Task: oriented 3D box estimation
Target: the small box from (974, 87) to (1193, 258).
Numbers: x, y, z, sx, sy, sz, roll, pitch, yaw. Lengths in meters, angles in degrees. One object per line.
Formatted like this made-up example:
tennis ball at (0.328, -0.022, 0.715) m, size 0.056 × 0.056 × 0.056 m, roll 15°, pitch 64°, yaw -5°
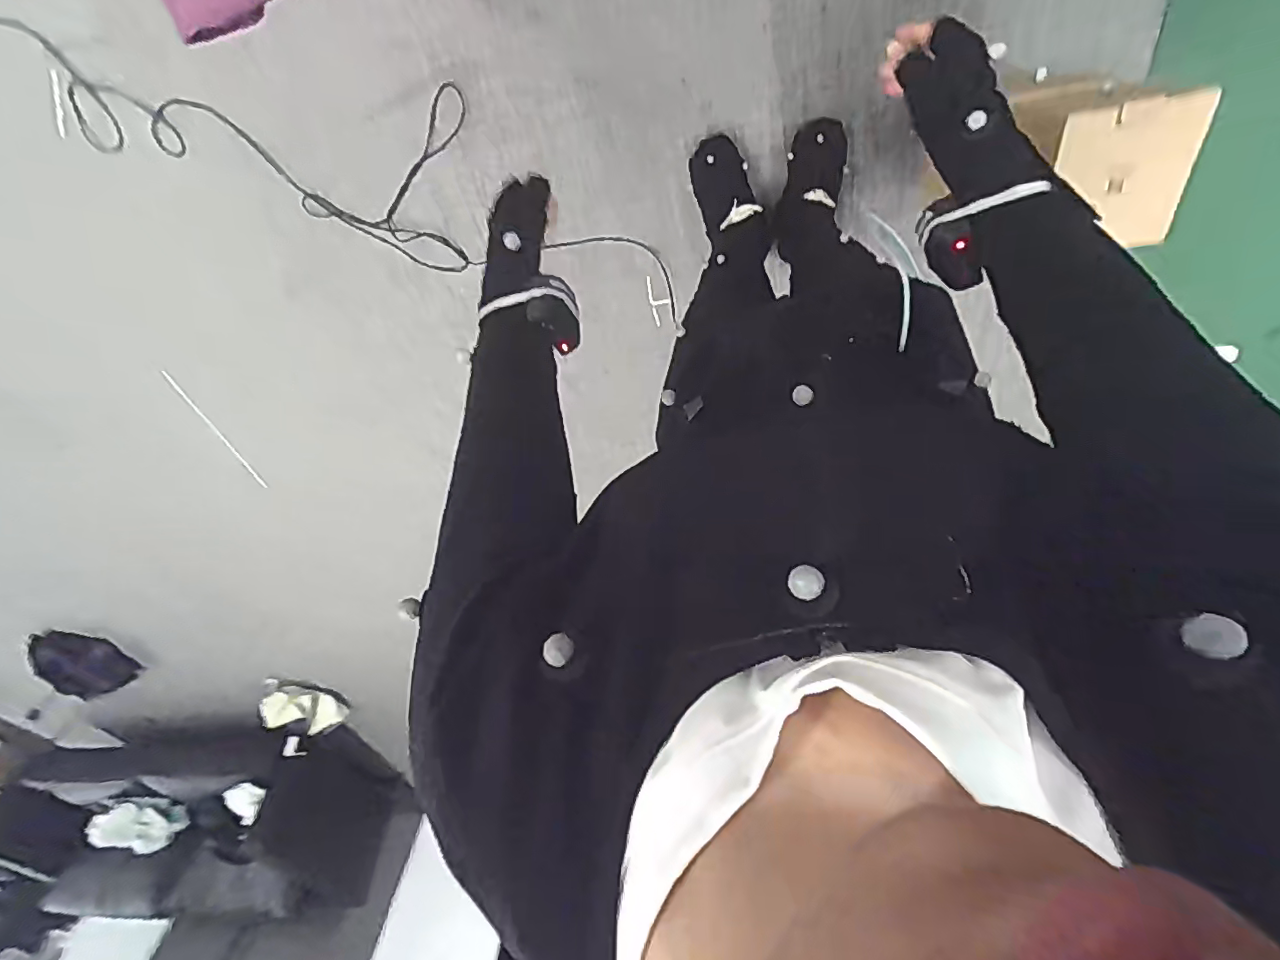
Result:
small box at (0.612, -0.444, 0.780) m, size 0.168 × 0.176 × 0.179 m, roll -4°, pitch 128°, yaw 10°

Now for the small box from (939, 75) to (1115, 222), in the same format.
small box at (0.622, -0.552, 0.900) m, size 0.168 × 0.176 × 0.179 m, roll -3°, pitch 128°, yaw 9°
